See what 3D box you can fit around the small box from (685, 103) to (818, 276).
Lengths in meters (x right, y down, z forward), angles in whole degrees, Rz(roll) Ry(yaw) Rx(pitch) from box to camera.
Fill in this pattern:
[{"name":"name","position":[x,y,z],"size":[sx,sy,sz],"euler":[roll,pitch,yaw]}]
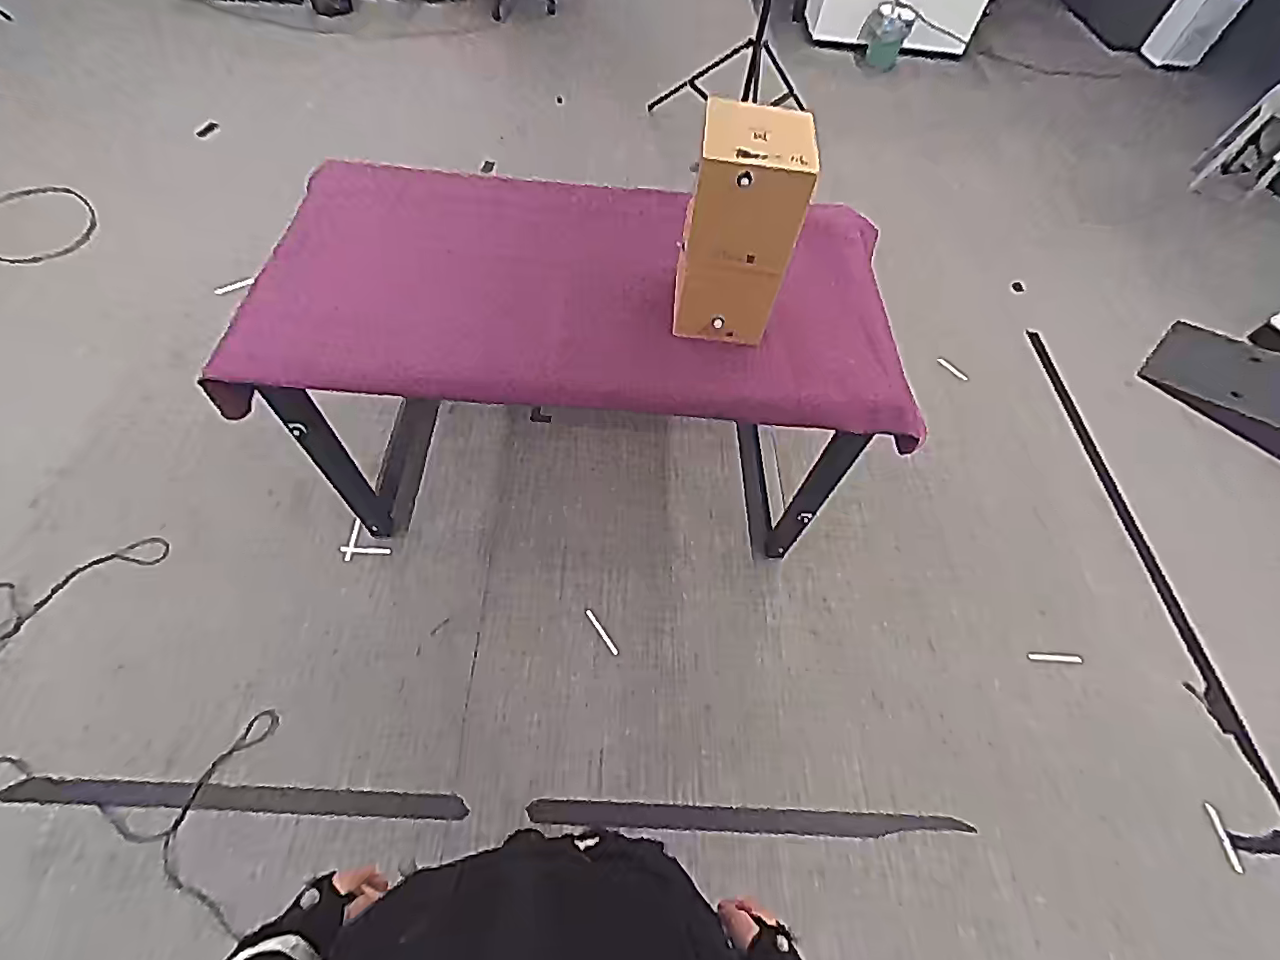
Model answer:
[{"name":"small box","position":[0.167,-0.455,0.855],"size":[0.168,0.176,0.179],"euler":[7,57,0]}]

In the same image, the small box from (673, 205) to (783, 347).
[{"name":"small box","position":[0.154,-0.373,0.997],"size":[0.168,0.176,0.179],"euler":[6,59,-1]}]
